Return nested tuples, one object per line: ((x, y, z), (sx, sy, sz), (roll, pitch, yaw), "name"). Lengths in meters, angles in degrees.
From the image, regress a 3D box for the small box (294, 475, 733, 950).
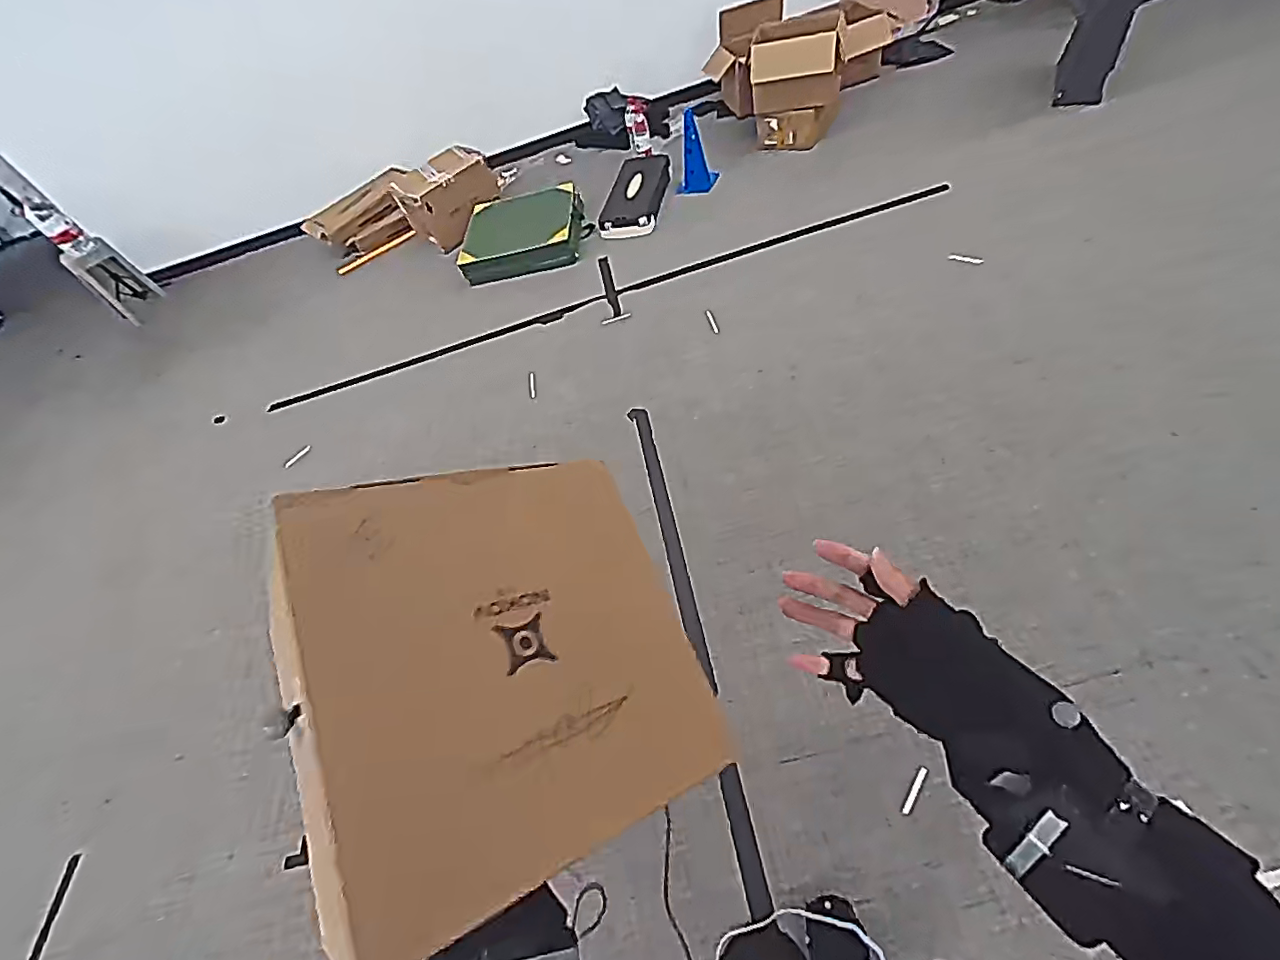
((-0.088, 0.119, 0.309), (0.168, 0.176, 0.179), (-7, 61, -38), "small box")
